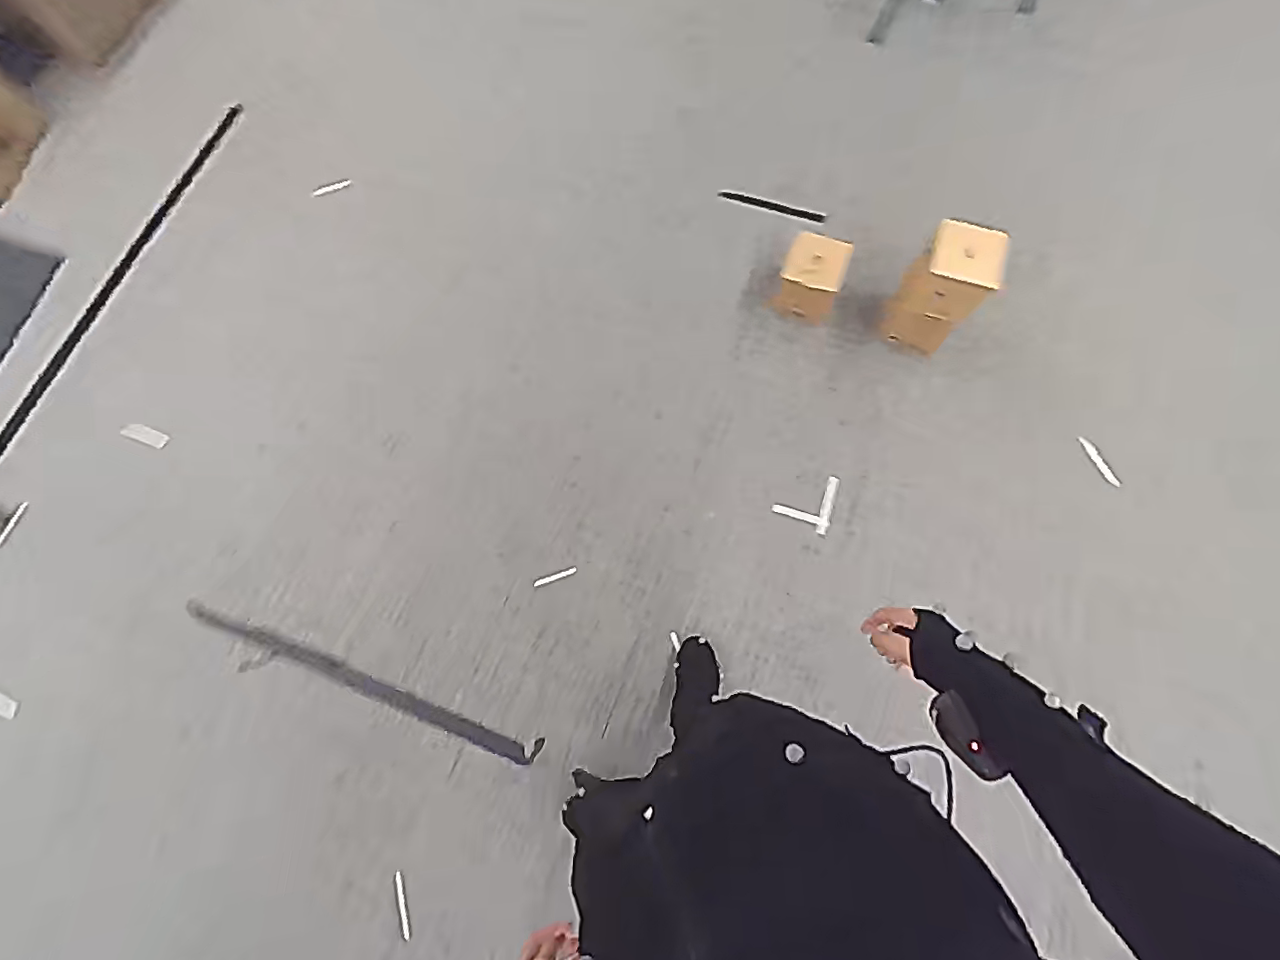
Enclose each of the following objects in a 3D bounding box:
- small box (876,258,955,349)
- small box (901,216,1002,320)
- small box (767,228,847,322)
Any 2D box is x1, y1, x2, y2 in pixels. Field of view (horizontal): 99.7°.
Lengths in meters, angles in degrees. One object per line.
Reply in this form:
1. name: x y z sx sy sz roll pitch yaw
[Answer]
1. small box: 0.820 -0.514 1.596 0.168 0.176 0.179 16 75 6
2. small box: 0.819 -0.556 1.439 0.168 0.176 0.179 17 75 6
3. small box: 0.496 -0.614 1.631 0.168 0.176 0.179 20 77 7
